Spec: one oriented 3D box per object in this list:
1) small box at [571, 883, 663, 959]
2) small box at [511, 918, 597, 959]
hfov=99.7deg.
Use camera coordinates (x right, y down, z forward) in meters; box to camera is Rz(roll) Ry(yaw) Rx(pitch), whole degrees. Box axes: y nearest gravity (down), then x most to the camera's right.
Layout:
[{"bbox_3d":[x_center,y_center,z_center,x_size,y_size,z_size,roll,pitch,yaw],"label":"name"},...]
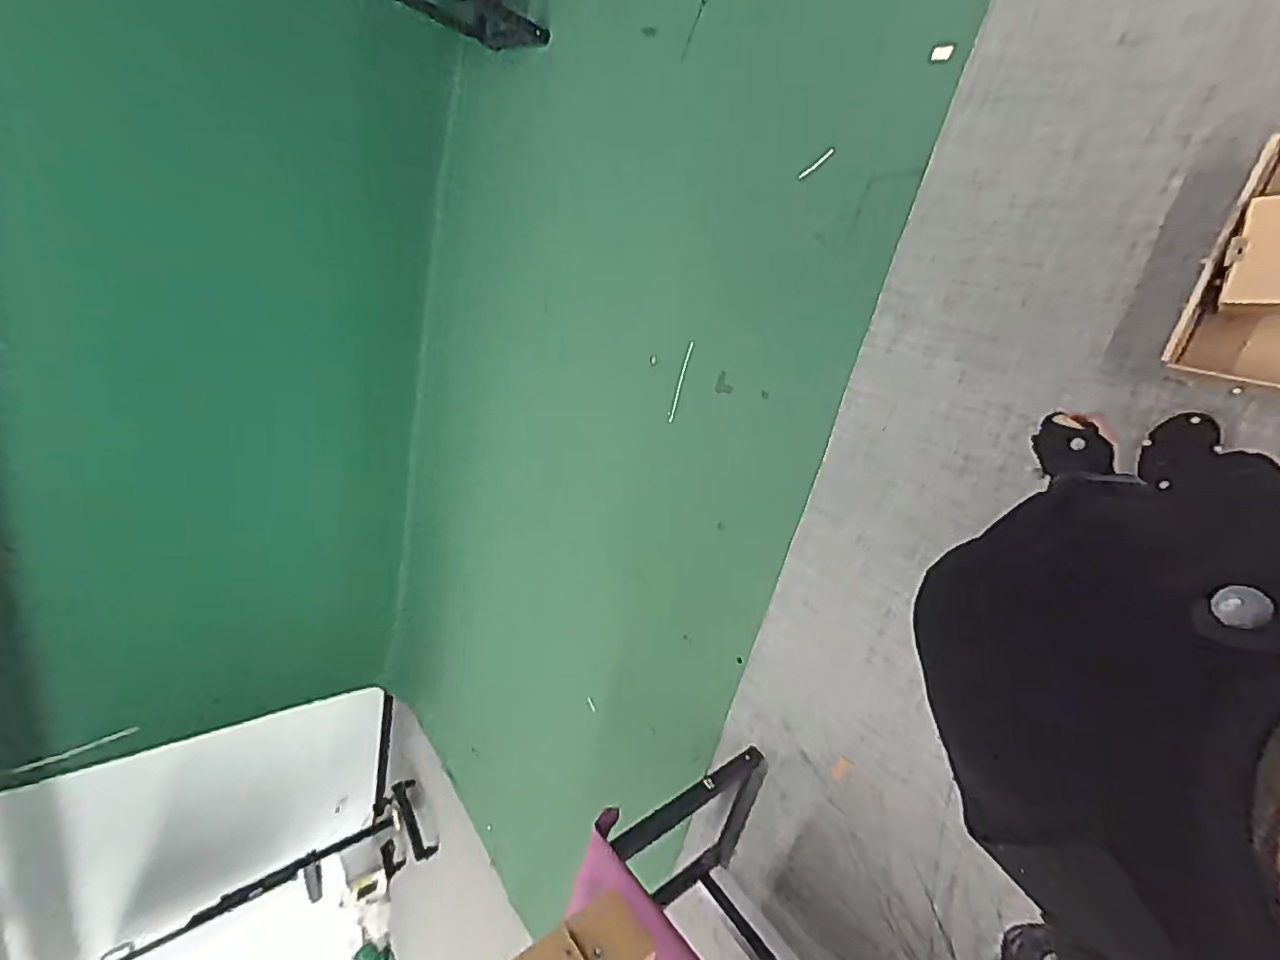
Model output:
[{"bbox_3d":[-0.071,1.119,1.281,0.179,0.176,0.168,31,115,42],"label":"small box"},{"bbox_3d":[-0.187,1.113,1.163,0.168,0.176,0.179,33,117,40],"label":"small box"}]
